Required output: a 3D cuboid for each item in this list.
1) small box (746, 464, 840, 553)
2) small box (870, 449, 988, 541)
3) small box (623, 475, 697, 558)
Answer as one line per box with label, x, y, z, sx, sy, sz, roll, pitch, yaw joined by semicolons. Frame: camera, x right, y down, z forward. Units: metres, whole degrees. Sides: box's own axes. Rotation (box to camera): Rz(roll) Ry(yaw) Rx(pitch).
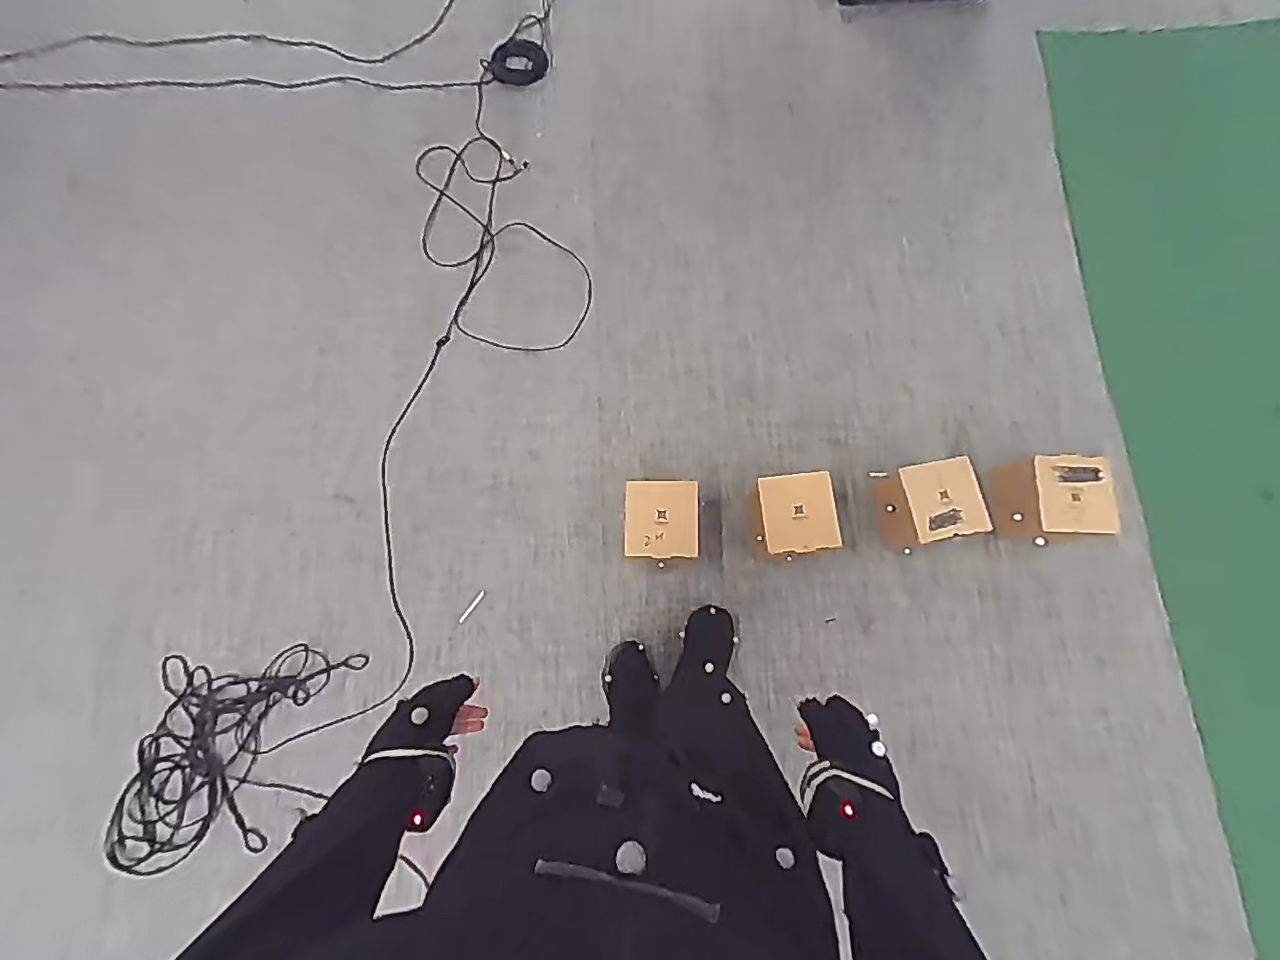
small box;0.354;0.074;1.283;0.168;0.176;0.179;-7;78;1
small box;0.670;0.043;1.276;0.168;0.176;0.179;-11;76;0
small box;0.049;0.091;1.292;0.168;0.176;0.179;0;78;4
